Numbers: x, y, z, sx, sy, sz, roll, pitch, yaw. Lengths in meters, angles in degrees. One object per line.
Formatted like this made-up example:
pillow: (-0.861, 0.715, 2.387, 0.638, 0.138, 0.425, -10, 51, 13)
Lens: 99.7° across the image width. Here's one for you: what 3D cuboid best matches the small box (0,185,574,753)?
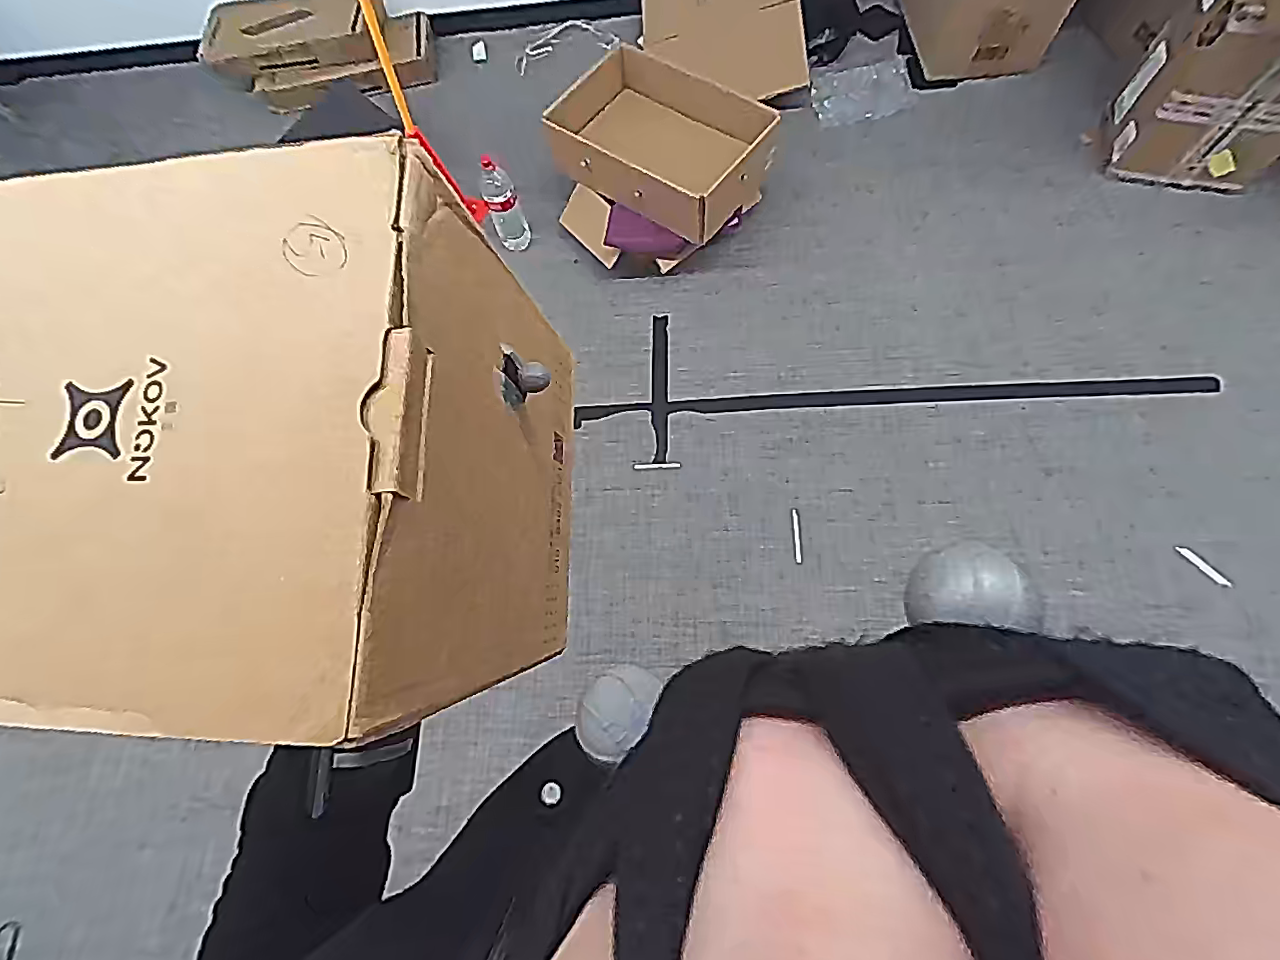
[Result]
small box: (-0.135, 0.005, 0.243, 0.179, 0.176, 0.168, -1, 79, 10)
